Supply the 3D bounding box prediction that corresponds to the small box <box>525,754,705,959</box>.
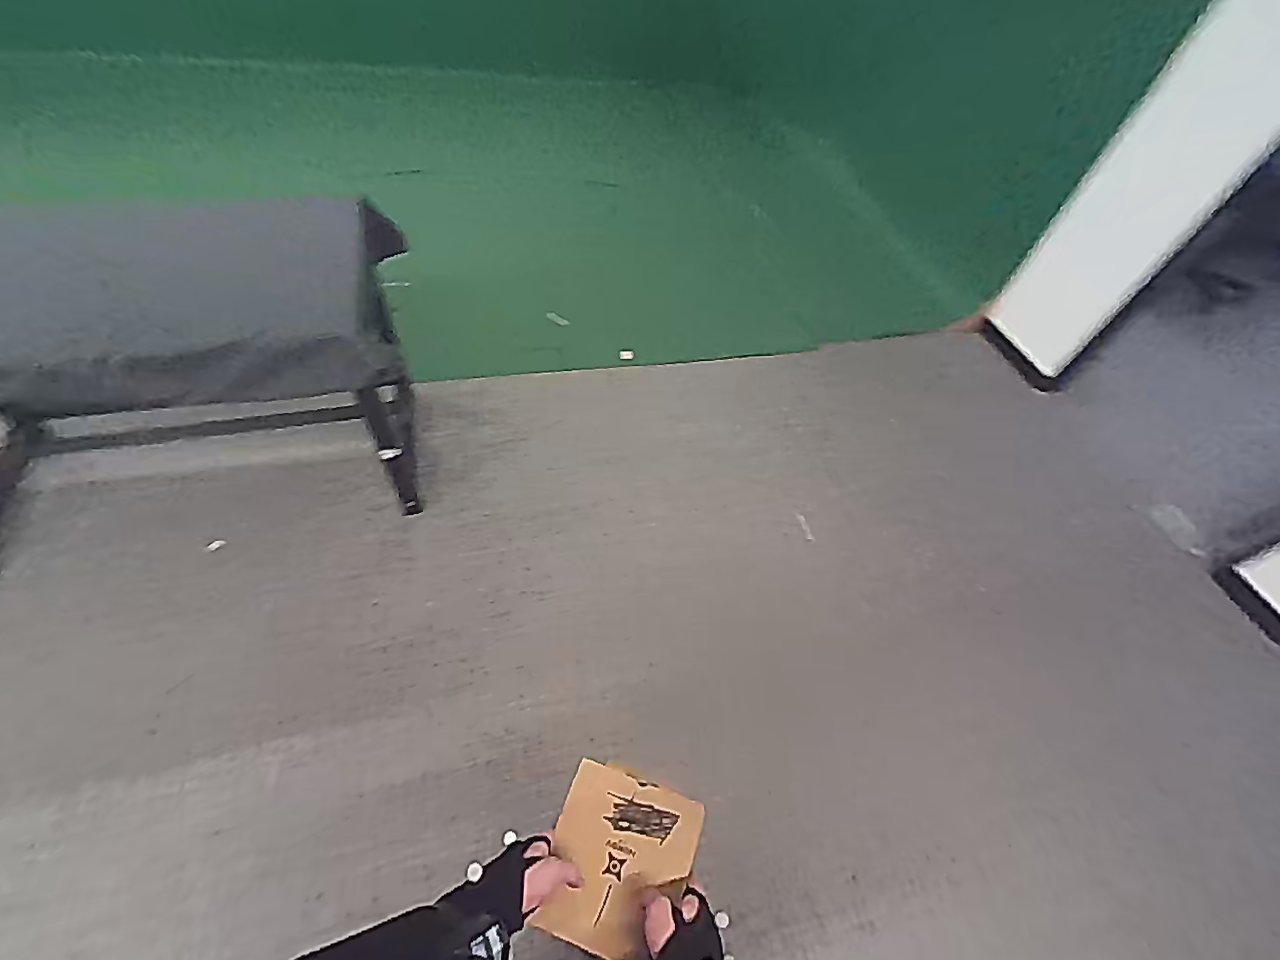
[{"bbox_3d":[-0.024,0.482,0.678,0.168,0.176,0.179,13,50,11],"label":"small box"}]
